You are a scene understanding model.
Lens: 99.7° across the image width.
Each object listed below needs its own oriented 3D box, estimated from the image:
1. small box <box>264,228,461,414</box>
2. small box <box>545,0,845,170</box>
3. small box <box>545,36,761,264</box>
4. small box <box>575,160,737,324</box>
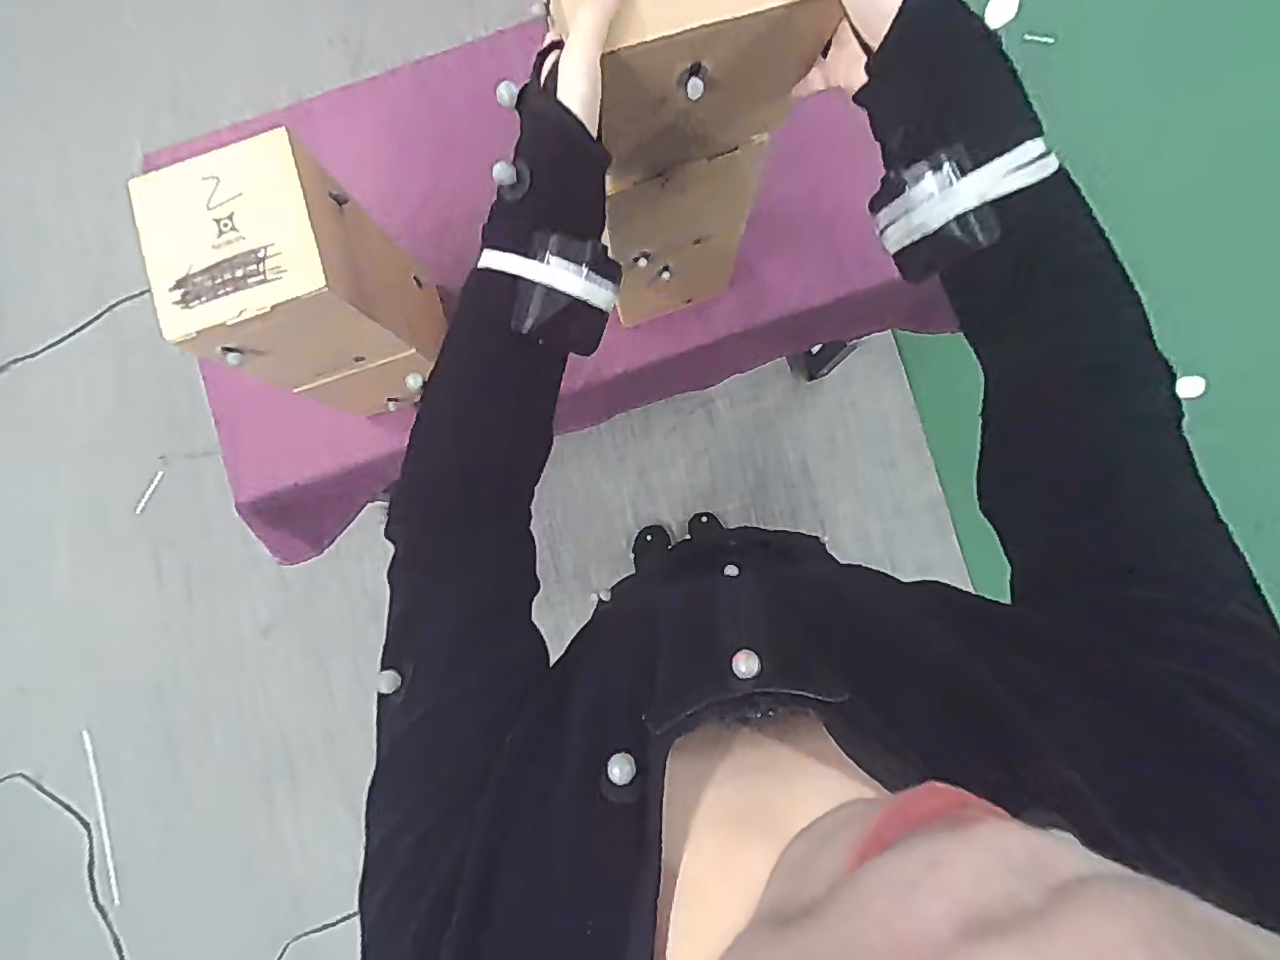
[{"bbox_3d":[-0.376,-0.211,0.760,0.168,0.176,0.179,-17,85,1],"label":"small box"},{"bbox_3d":[0.020,-0.352,0.388,0.179,0.176,0.168,-14,100,0],"label":"small box"},{"bbox_3d":[0.016,-0.363,0.591,0.168,0.176,0.179,-19,84,1],"label":"small box"},{"bbox_3d":[0.022,-0.348,0.755,0.168,0.176,0.179,-19,84,2],"label":"small box"}]
